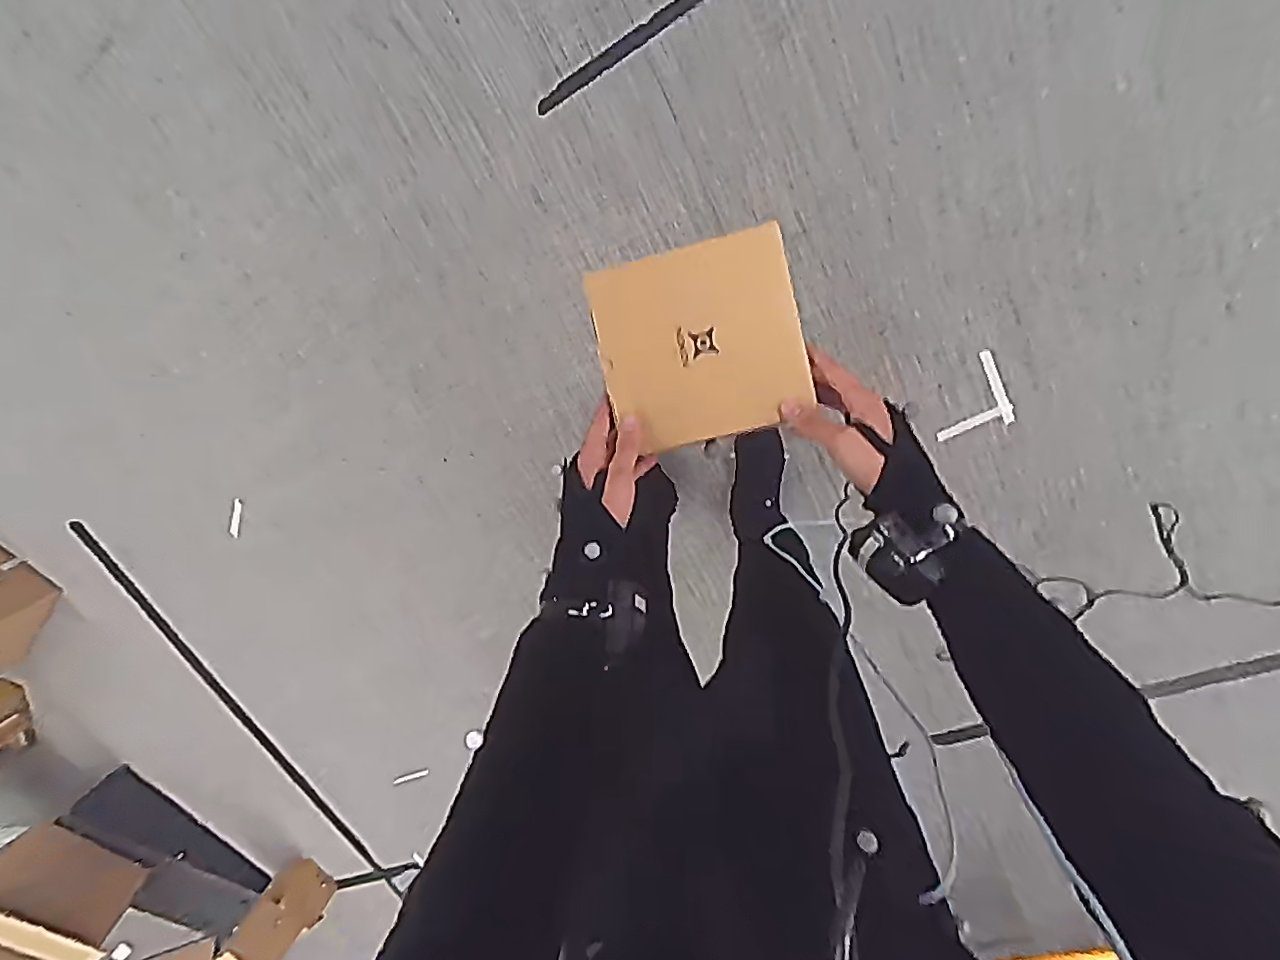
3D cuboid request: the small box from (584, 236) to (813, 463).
[{"bbox_3d":[0.060,-0.119,0.554,0.179,0.176,0.168,-13,93,9],"label":"small box"}]
